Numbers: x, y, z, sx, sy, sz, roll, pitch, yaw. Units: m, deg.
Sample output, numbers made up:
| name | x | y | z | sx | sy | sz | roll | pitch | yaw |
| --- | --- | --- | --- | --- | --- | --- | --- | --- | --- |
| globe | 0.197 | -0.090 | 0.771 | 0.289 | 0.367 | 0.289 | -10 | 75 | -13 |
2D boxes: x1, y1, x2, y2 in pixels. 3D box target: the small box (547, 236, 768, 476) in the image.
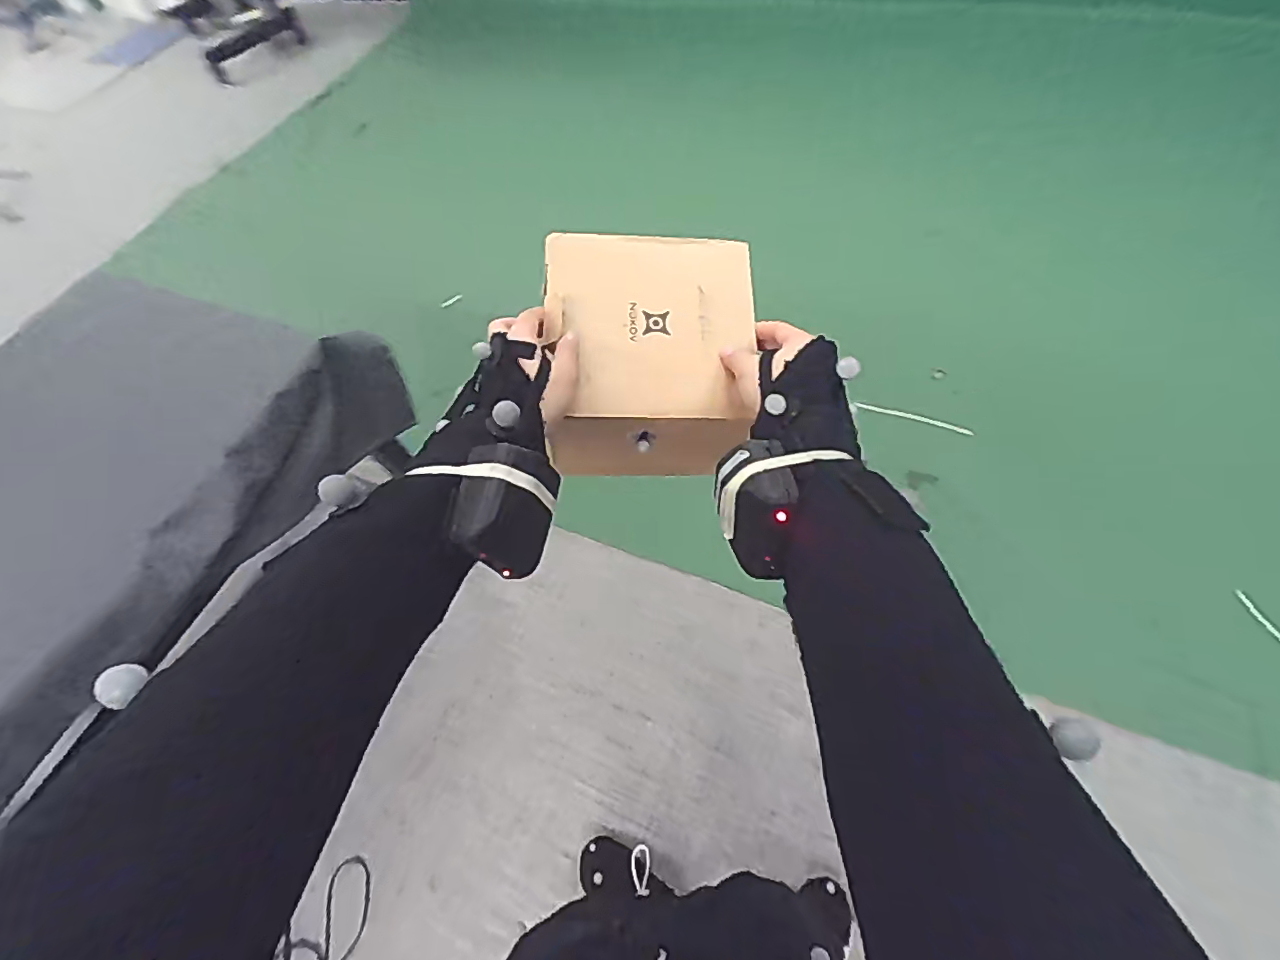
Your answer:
| name | x | y | z | sx | sy | sz | roll | pitch | yaw |
| --- | --- | --- | --- | --- | --- | --- | --- | --- | --- |
| small box | 0.008 | -0.104 | 0.515 | 0.179 | 0.176 | 0.168 | 1 | 75 | -6 |
